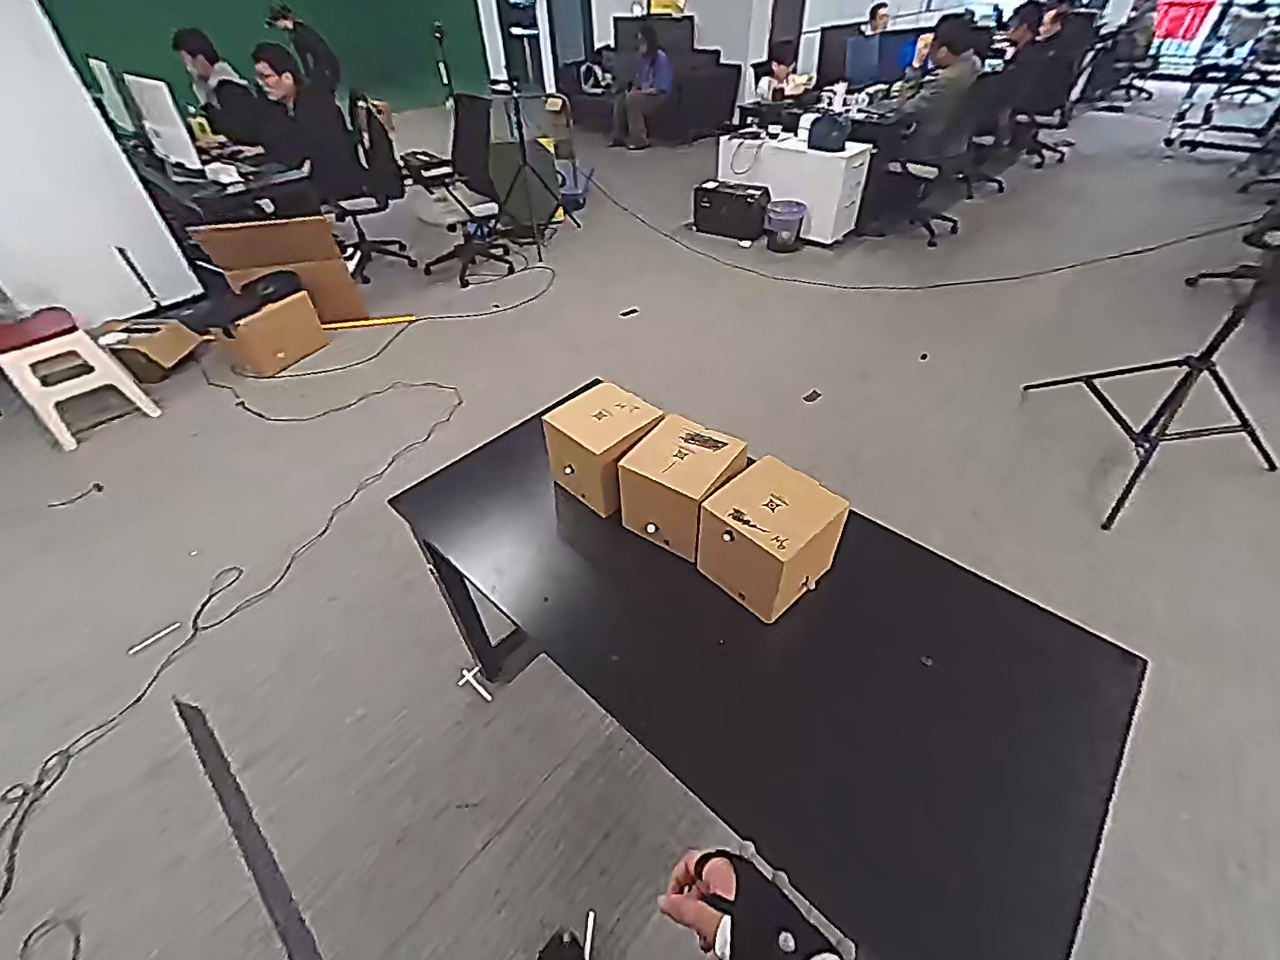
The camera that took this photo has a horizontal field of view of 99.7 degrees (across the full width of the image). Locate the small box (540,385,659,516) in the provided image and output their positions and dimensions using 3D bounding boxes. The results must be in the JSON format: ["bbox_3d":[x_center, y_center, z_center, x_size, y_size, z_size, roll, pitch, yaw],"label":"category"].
[{"bbox_3d":[-0.074,-0.059,1.098,0.168,0.176,0.179,33,53,32],"label":"small box"}]
